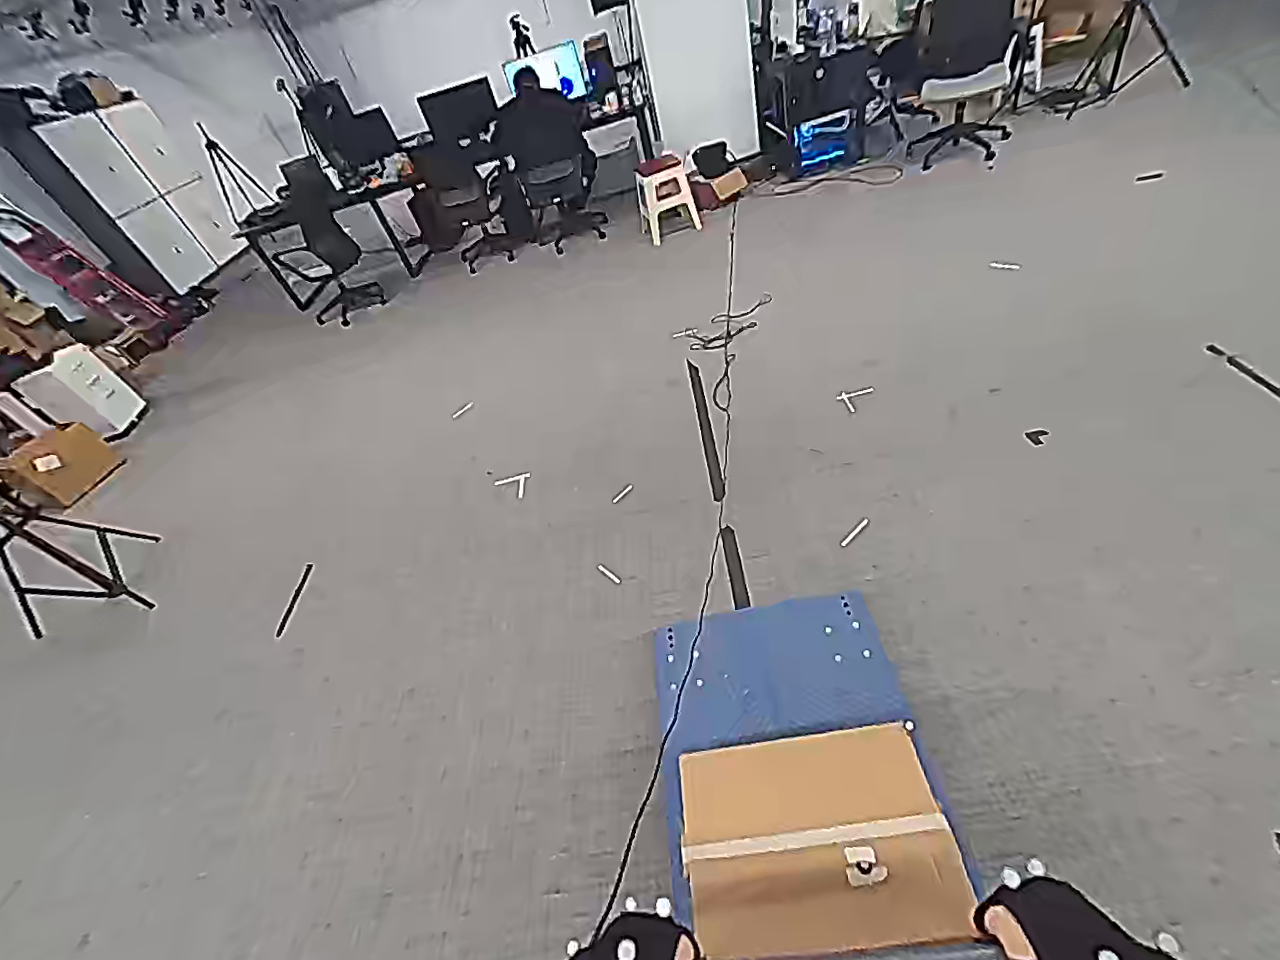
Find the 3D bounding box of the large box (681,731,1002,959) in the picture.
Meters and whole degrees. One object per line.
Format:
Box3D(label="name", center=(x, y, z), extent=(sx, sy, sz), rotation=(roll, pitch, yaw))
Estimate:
Box3D(label="large box", center=(0.308, 0.680, 0.929), extent=(0.408, 0.320, 0.320), rotation=(-12, 41, 8))
